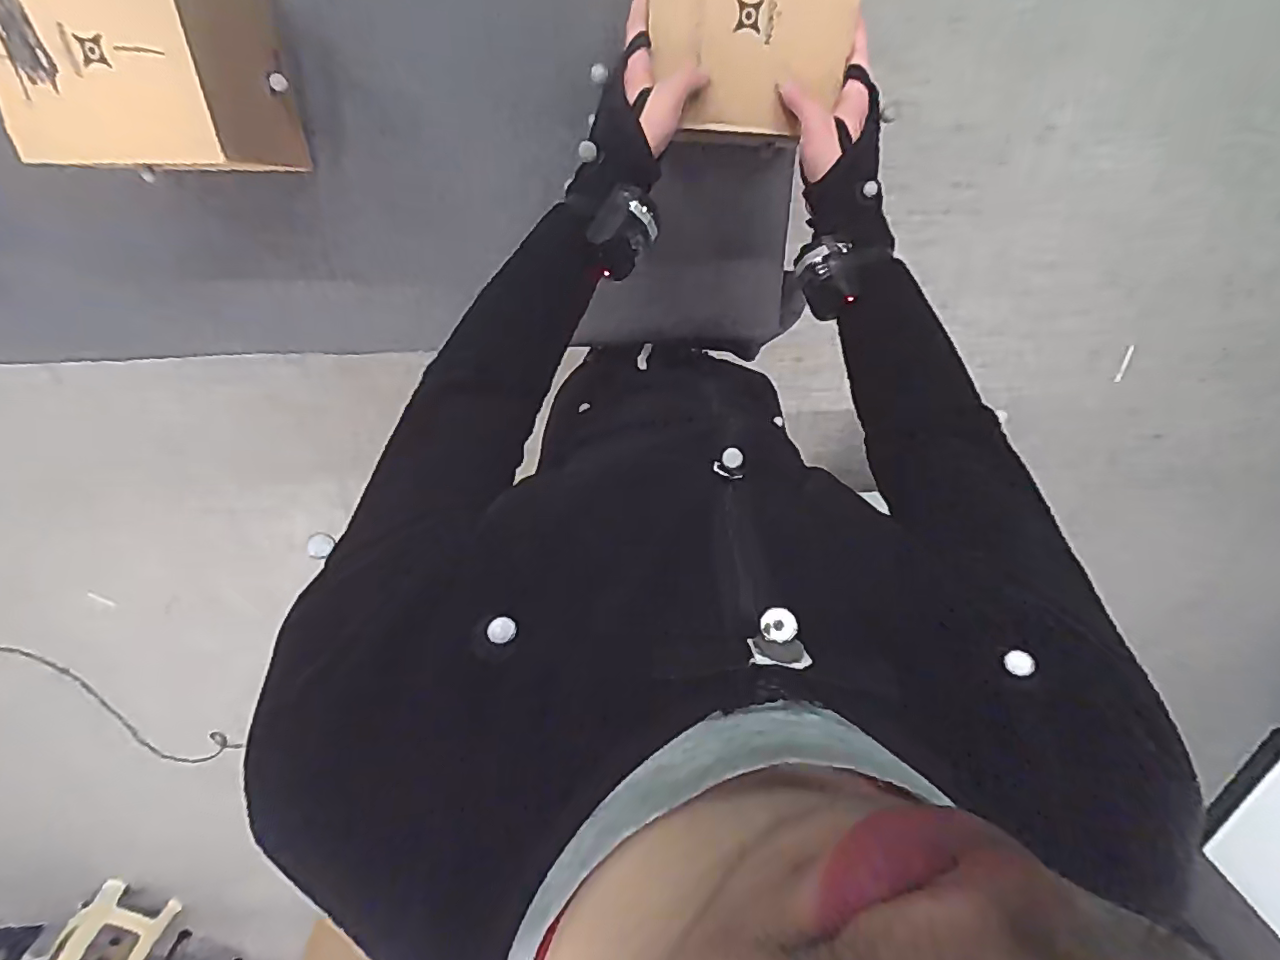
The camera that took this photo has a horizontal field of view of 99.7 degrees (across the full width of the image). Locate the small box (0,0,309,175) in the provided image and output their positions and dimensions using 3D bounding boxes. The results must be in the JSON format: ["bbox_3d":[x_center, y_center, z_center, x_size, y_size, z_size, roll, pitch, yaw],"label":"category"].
[{"bbox_3d":[-0.460,-0.388,0.513,0.179,0.176,0.168,-1,119,-3],"label":"small box"}]

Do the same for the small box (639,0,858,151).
[{"bbox_3d":[0.090,-0.415,0.513,0.179,0.176,0.168,2,118,-1],"label":"small box"}]
